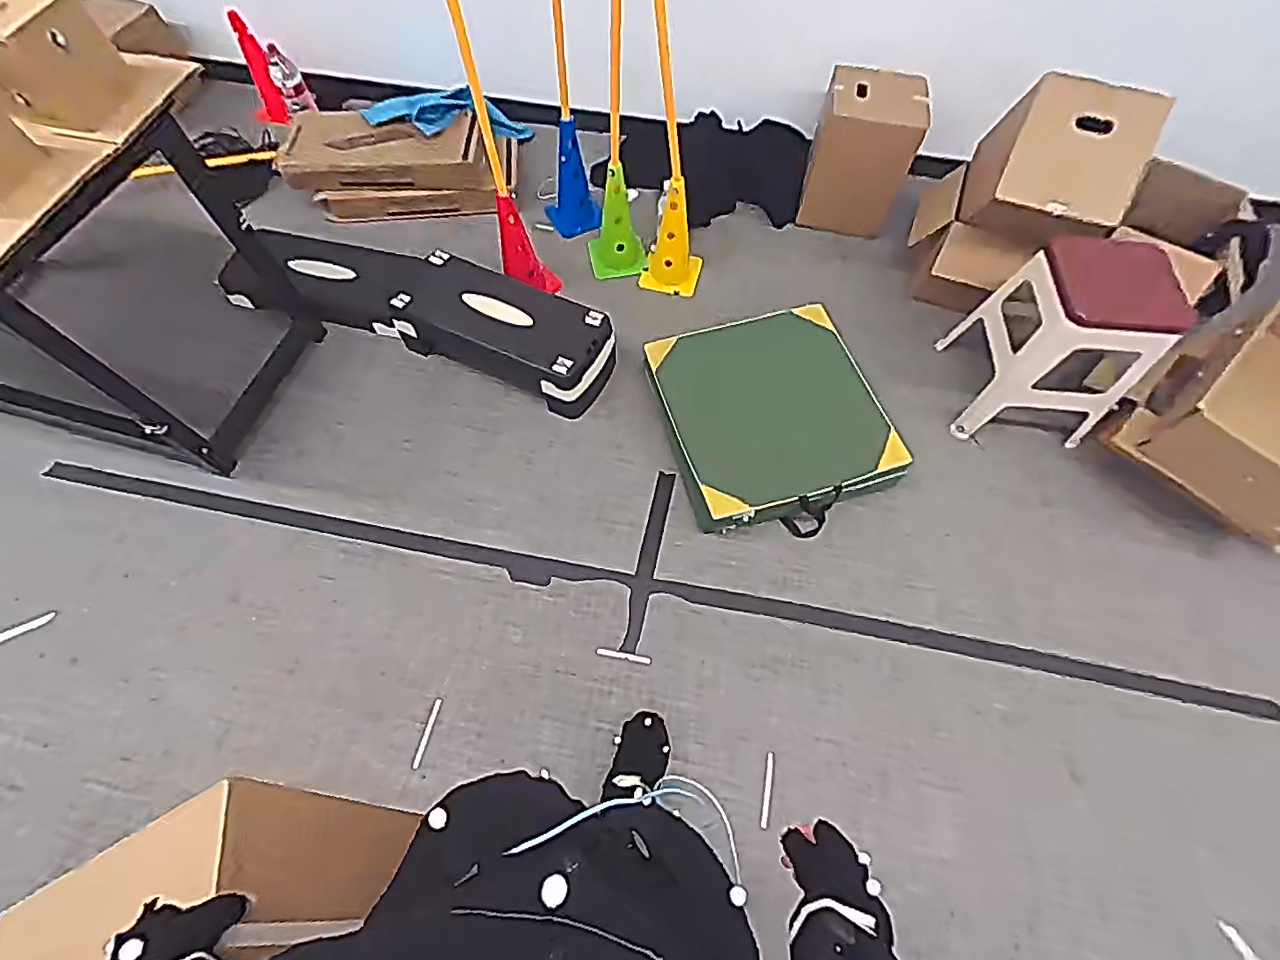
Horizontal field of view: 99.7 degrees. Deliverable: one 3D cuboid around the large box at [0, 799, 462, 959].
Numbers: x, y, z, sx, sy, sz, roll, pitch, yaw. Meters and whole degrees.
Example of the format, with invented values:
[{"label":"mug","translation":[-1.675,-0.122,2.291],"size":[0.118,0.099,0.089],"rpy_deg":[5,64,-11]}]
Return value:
[{"label":"large box","translation":[-0.472,0.654,0.666],"size":[0.320,0.408,0.320],"rpy_deg":[-31,48,-2]}]
